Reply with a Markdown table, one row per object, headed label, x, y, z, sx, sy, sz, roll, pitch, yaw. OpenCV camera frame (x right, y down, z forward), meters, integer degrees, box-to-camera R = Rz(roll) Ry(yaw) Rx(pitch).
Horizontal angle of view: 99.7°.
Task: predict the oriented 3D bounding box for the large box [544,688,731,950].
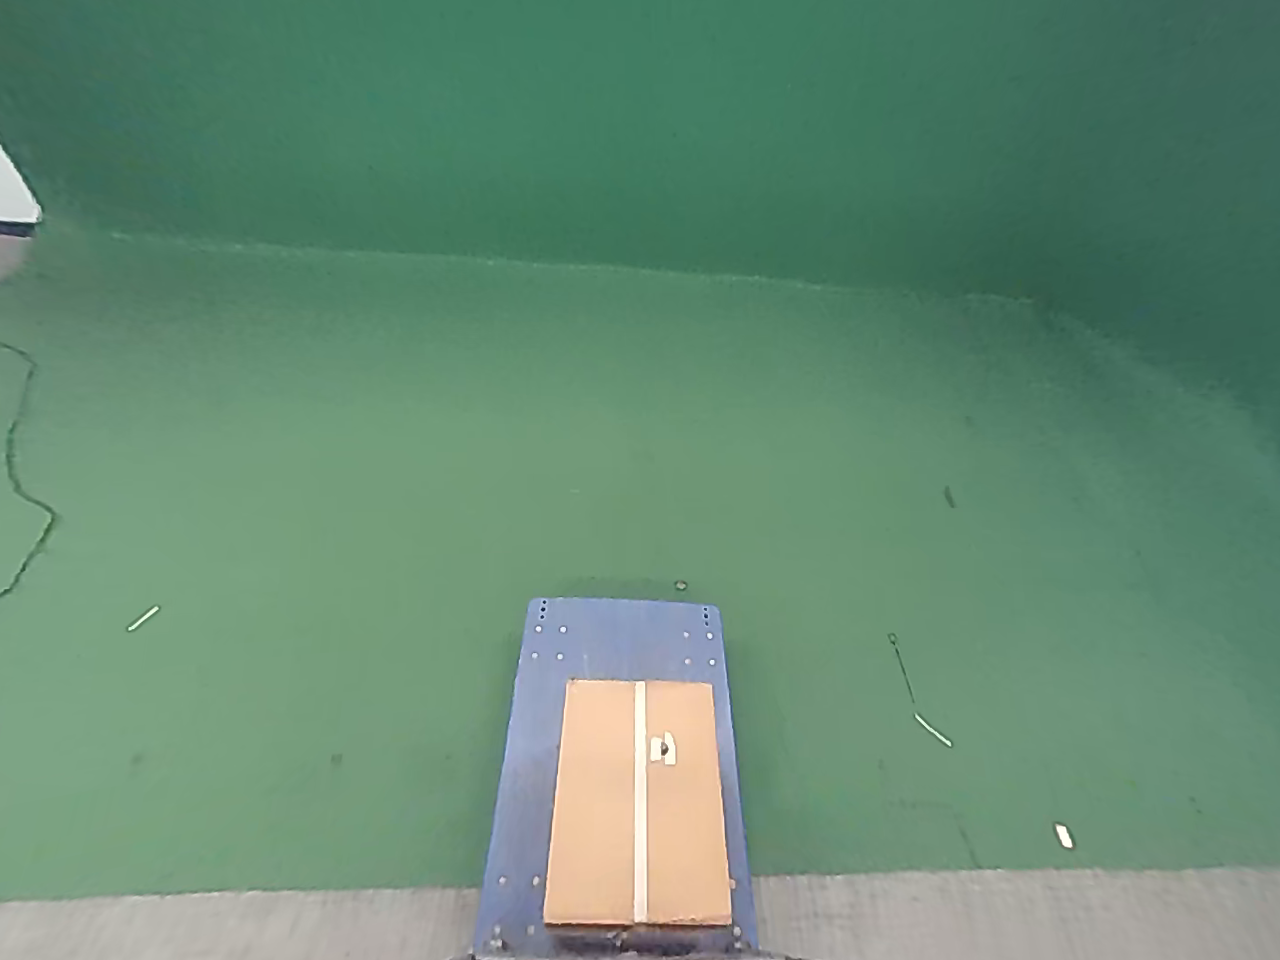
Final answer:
| label | x | y | z | sx | sy | sz | roll | pitch | yaw |
| --- | --- | --- | --- | --- | --- | --- | --- | --- | --- |
| large box | -0.017 | 0.693 | 1.117 | 0.320 | 0.320 | 0.408 | 3 | 45 | -4 |
